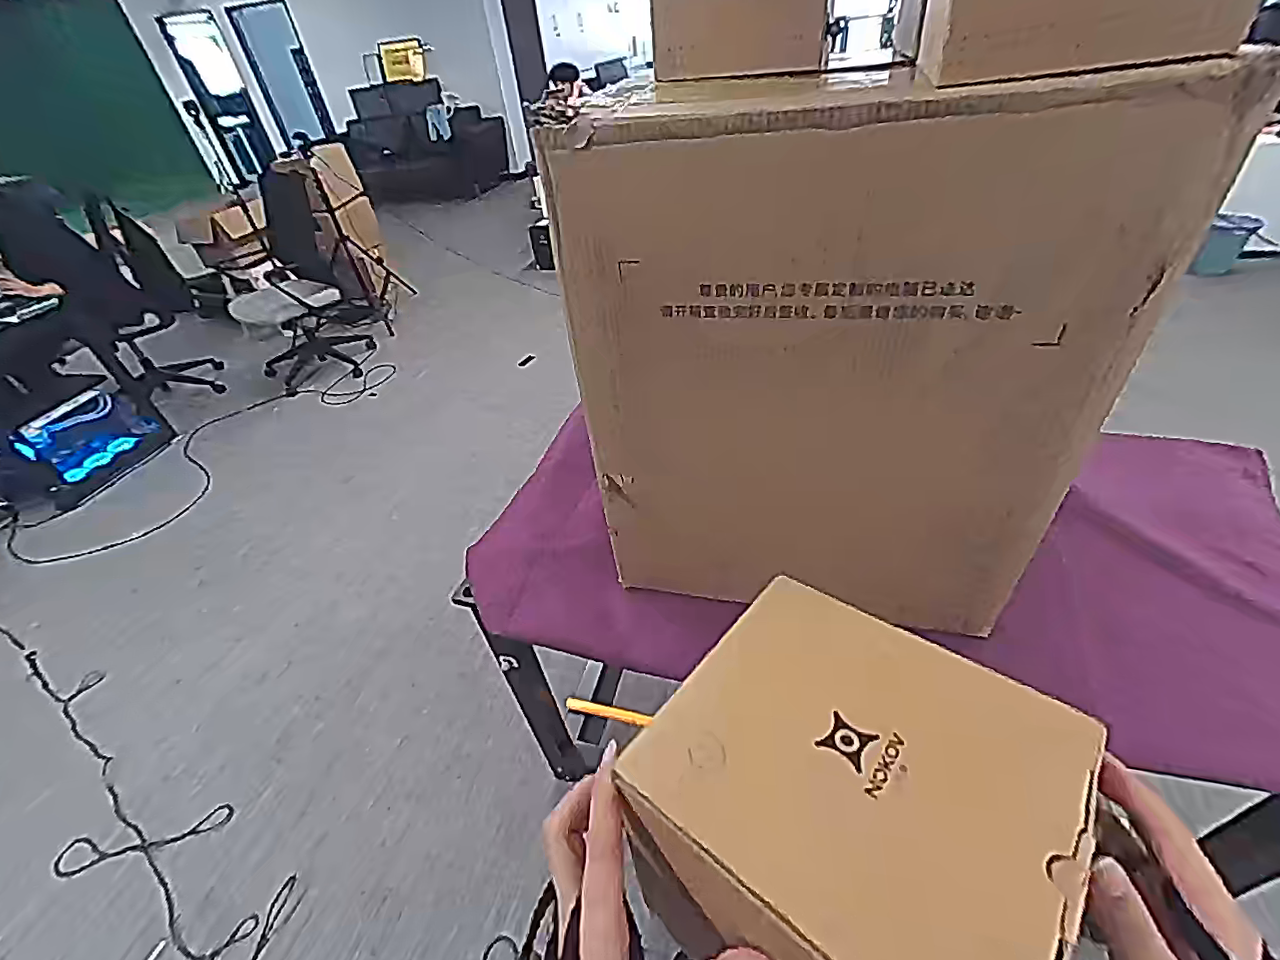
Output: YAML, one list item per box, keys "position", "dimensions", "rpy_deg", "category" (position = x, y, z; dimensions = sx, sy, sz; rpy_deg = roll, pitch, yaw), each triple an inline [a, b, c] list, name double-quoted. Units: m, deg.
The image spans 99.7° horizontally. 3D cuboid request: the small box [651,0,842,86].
- position: [0.117, -0.526, 0.558]
  dimensions: [0.179, 0.176, 0.168]
  rpy_deg: [8, 41, 19]
  category: "small box"
